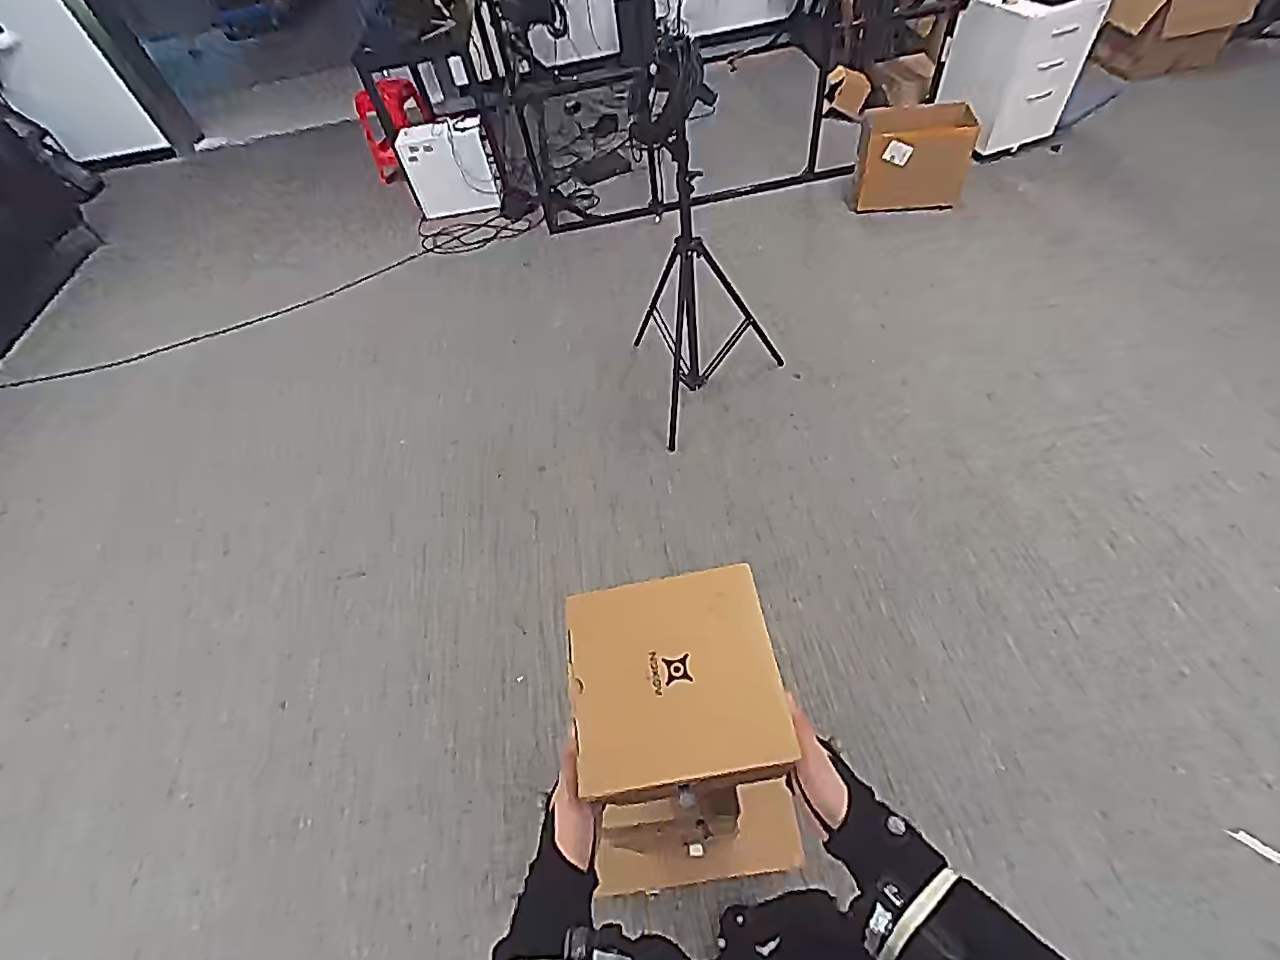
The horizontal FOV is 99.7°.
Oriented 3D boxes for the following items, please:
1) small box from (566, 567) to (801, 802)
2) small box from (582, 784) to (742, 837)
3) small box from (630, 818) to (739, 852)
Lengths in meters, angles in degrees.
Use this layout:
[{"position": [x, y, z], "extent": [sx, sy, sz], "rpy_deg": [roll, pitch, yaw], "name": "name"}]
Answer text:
[{"position": [0.039, 0.204, 0.523], "extent": [0.179, 0.176, 0.168], "rpy_deg": [-13, 57, 3], "name": "small box"}, {"position": [0.026, 0.350, 0.693], "extent": [0.179, 0.176, 0.168], "rpy_deg": [-9, 53, 3], "name": "small box"}, {"position": [0.070, 0.545, 0.955], "extent": [0.179, 0.176, 0.168], "rpy_deg": [-11, 54, 0], "name": "small box"}]
